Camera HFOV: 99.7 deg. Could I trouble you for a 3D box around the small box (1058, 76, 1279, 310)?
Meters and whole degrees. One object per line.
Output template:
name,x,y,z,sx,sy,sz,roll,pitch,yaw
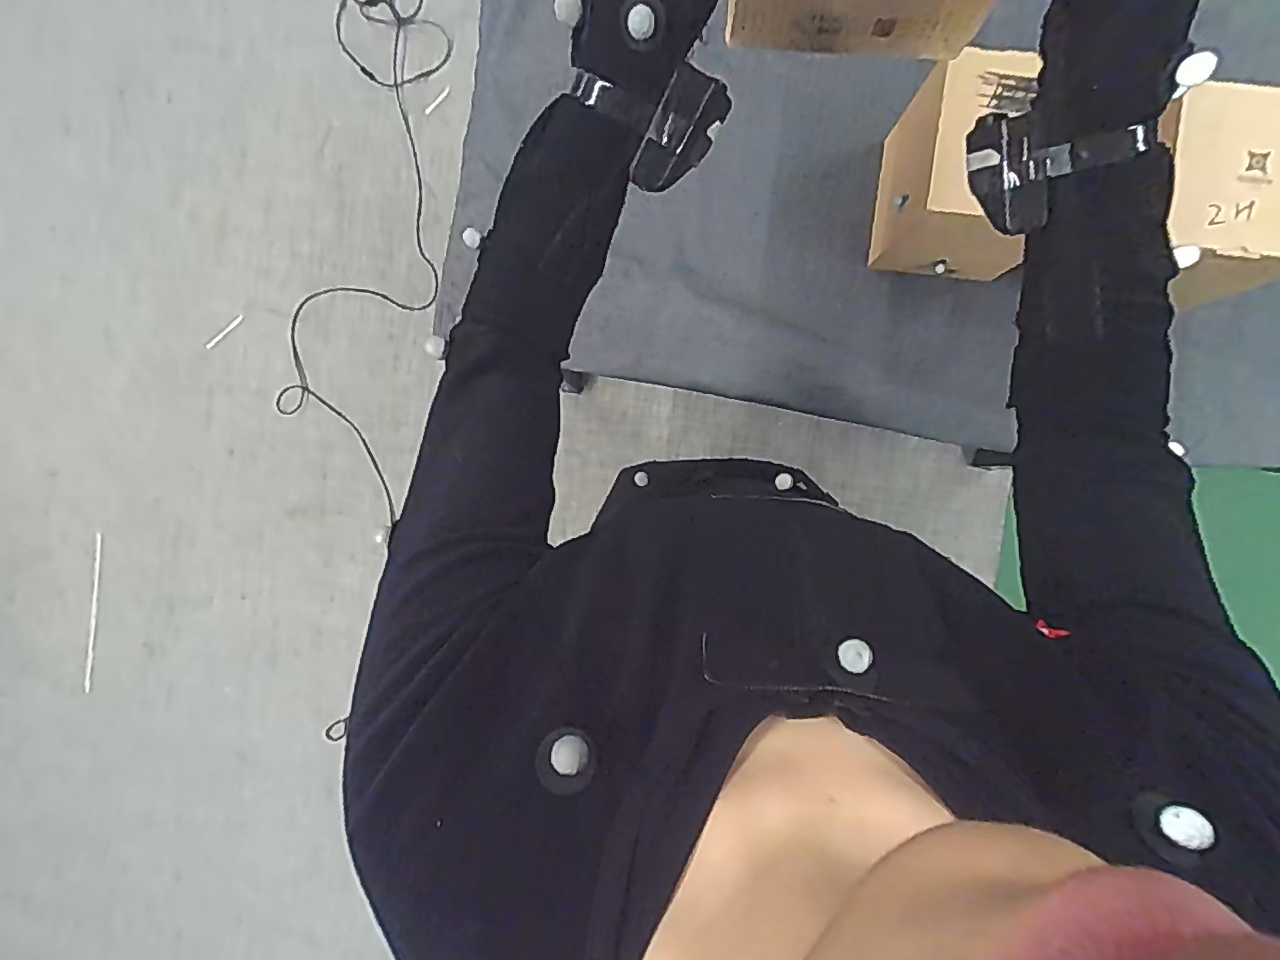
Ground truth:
small box,0.636,-0.320,0.634,0.168,0.176,0.179,9,91,4
